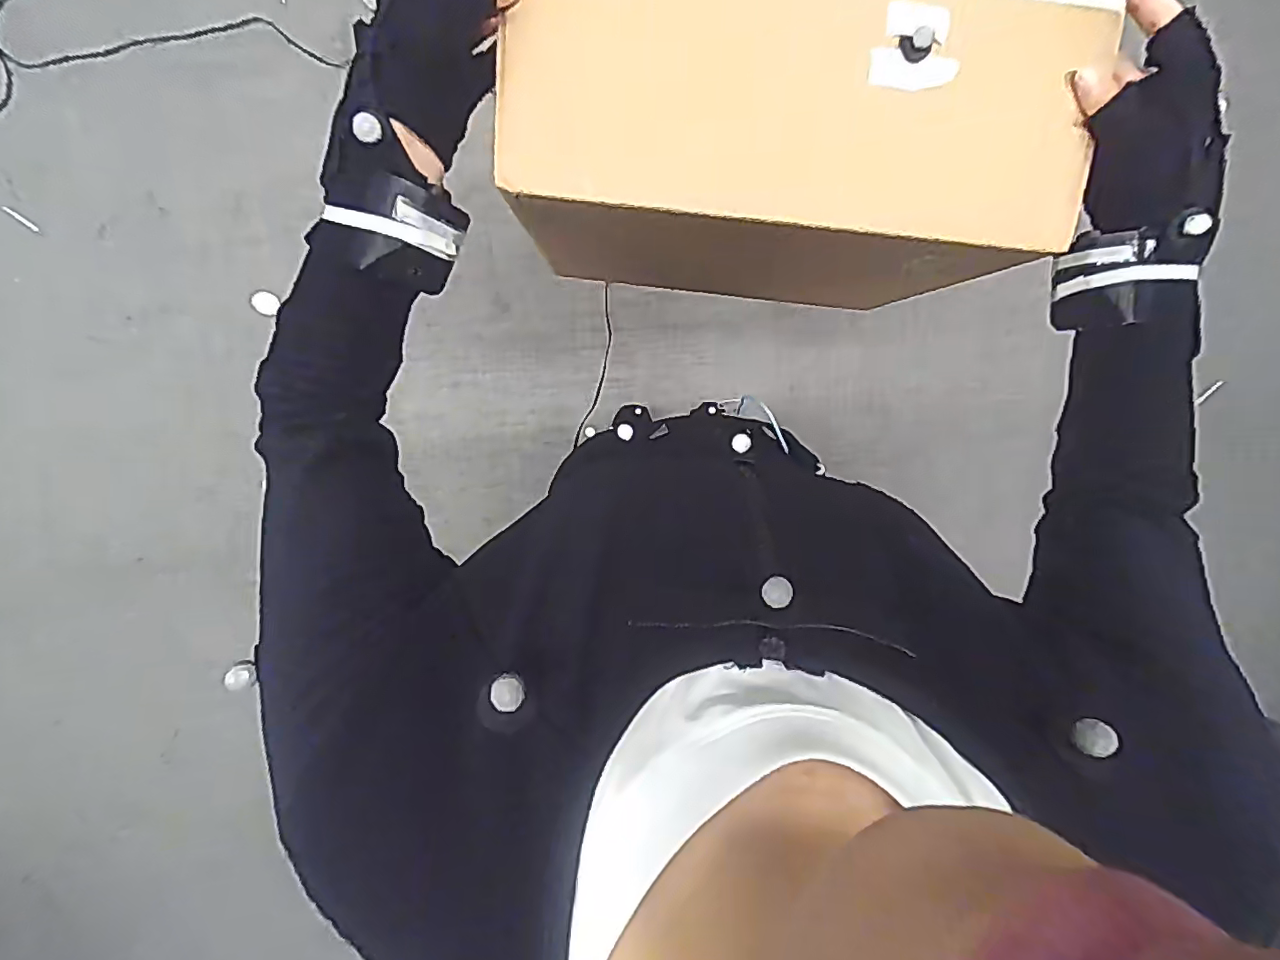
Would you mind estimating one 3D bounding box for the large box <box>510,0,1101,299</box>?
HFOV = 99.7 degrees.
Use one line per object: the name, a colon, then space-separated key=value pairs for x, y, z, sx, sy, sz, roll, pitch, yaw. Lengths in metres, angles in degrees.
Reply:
large box: x=0.110 y=-0.364 z=0.506 sx=0.408 sy=0.320 sz=0.320 roll=4 pitch=101 yaw=-2
